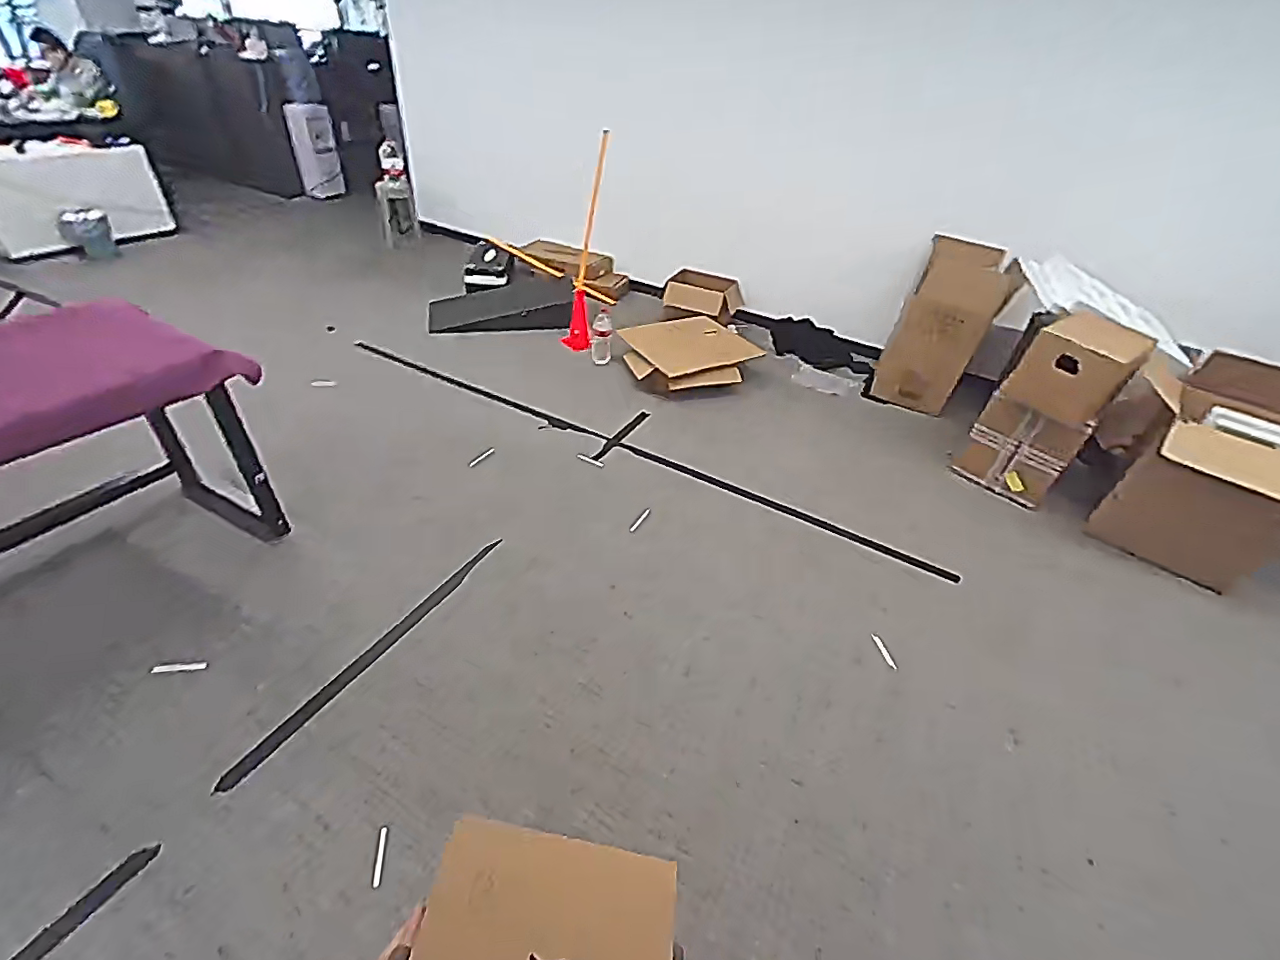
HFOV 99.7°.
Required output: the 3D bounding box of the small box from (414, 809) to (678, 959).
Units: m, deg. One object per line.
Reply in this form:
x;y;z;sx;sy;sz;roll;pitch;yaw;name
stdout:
-0.079;0.373;0.381;0.168;0.176;0.179;15;39;-2;small box
